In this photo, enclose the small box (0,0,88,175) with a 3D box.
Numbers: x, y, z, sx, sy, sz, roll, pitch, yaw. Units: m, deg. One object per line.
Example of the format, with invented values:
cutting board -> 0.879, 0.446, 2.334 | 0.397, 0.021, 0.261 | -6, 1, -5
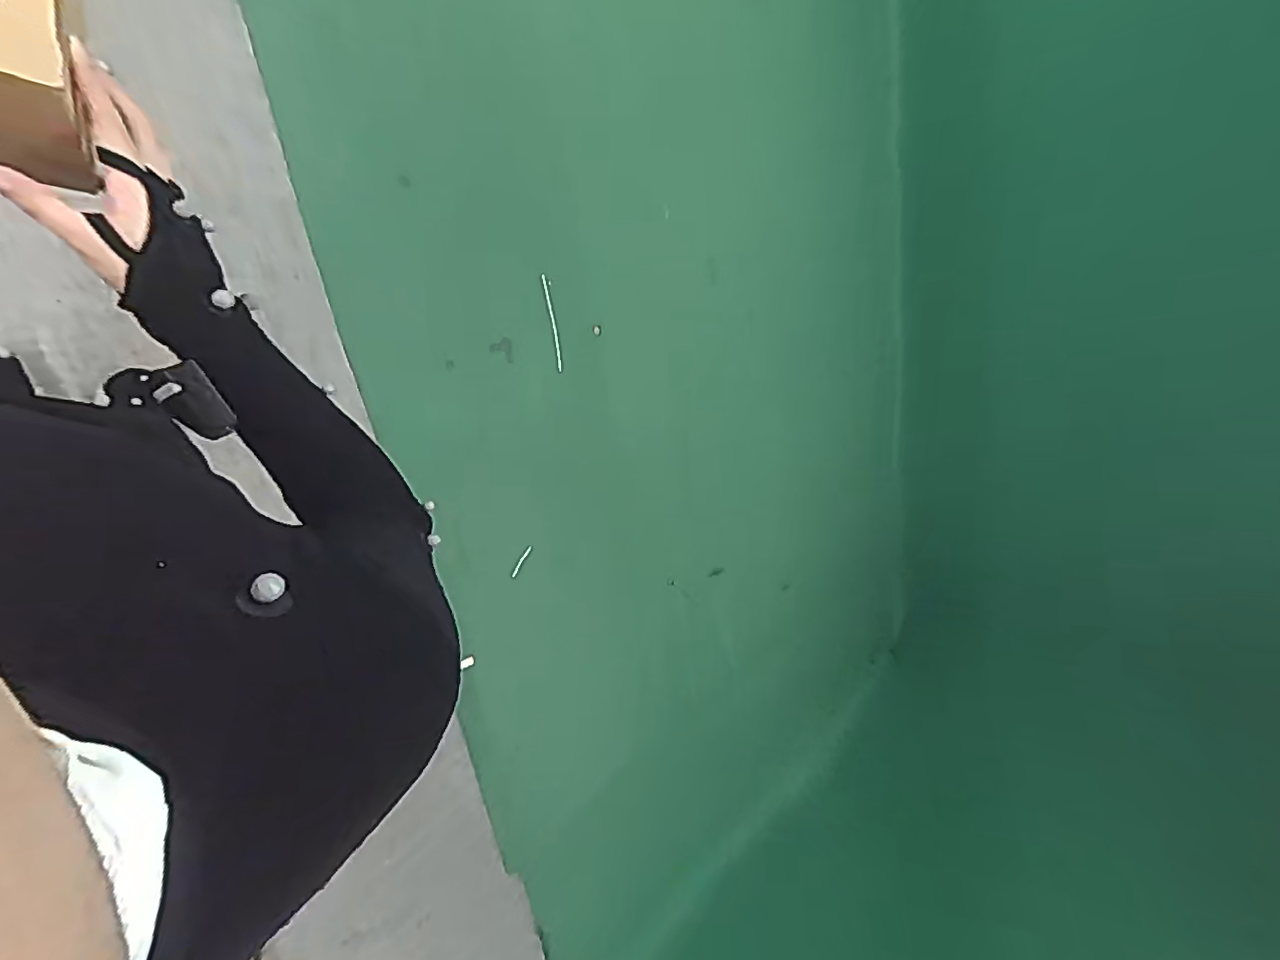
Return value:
small box -> -0.481, -0.321, 0.332 | 0.179, 0.176, 0.168 | -4, 94, -40
